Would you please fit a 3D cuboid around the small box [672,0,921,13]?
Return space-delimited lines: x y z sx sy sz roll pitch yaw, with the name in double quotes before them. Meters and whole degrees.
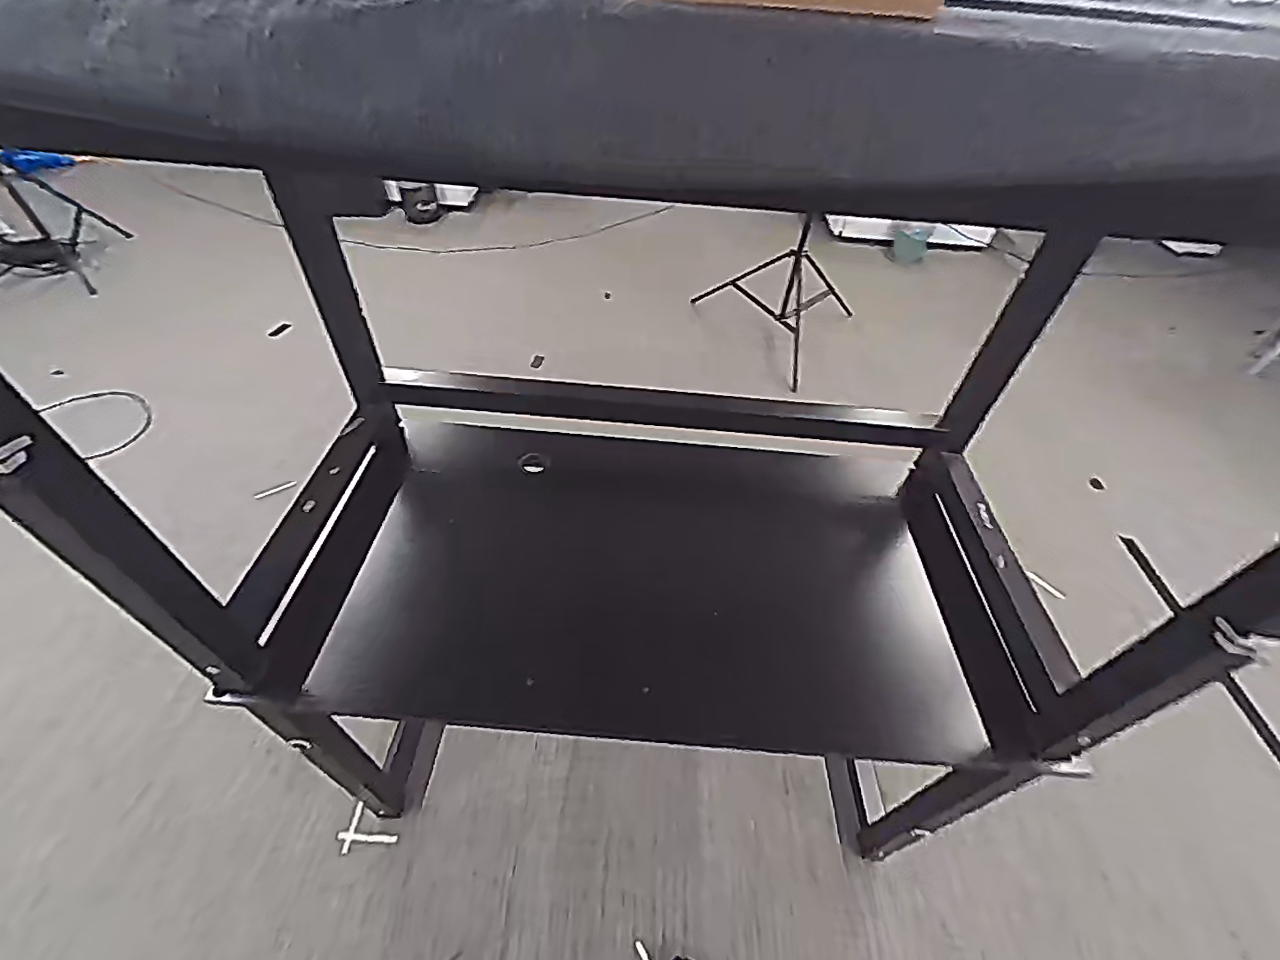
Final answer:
"small box" 0.078 -0.357 0.277 0.168 0.176 0.179 4 44 0
